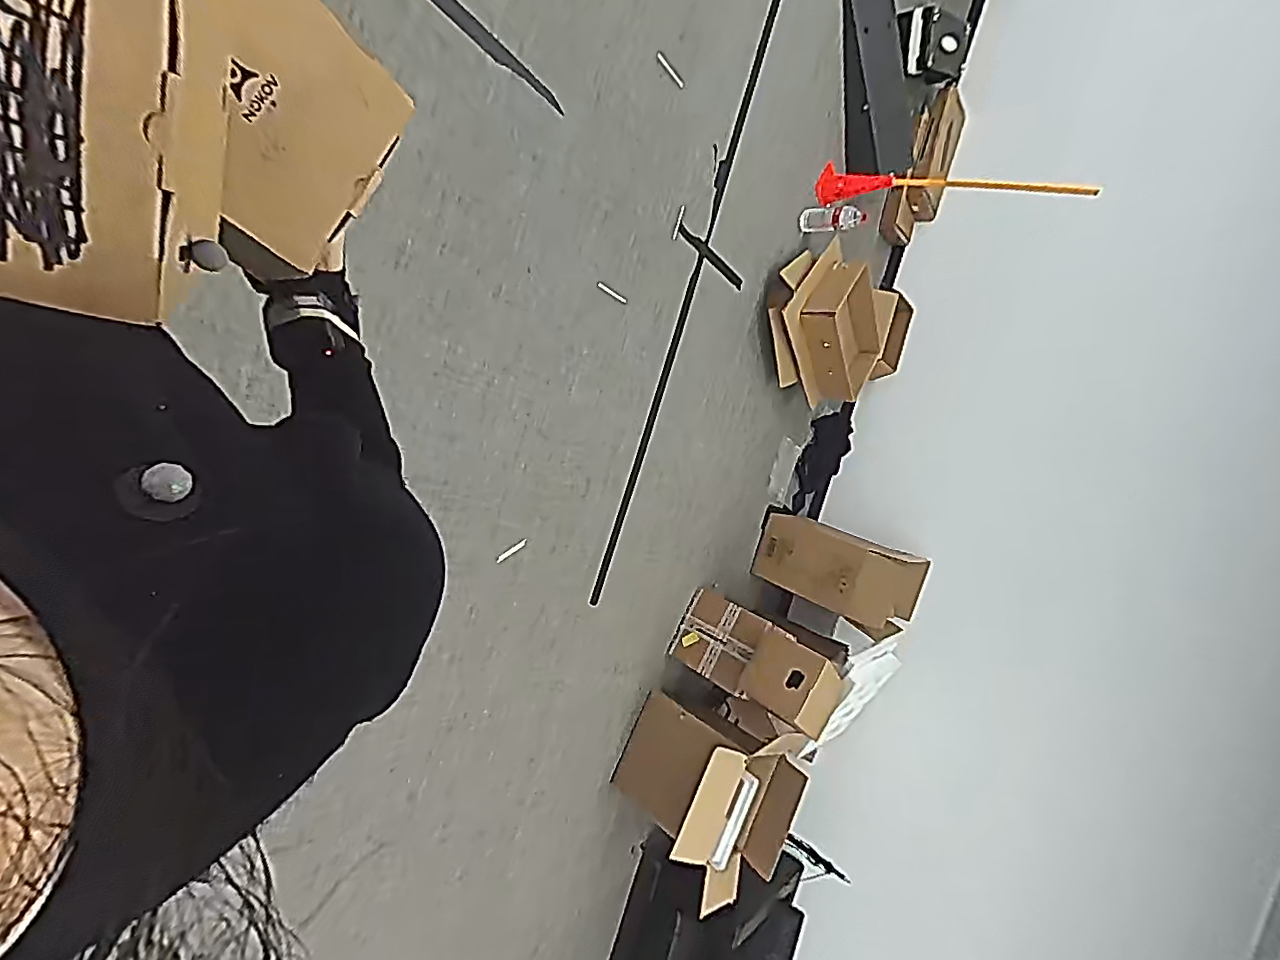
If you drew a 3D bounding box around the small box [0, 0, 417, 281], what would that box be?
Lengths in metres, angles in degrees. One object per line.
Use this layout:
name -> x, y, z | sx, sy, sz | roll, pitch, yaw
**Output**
small box -> -0.320, -0.280, 0.420 | 0.179, 0.176, 0.168 | 38, 75, -47
